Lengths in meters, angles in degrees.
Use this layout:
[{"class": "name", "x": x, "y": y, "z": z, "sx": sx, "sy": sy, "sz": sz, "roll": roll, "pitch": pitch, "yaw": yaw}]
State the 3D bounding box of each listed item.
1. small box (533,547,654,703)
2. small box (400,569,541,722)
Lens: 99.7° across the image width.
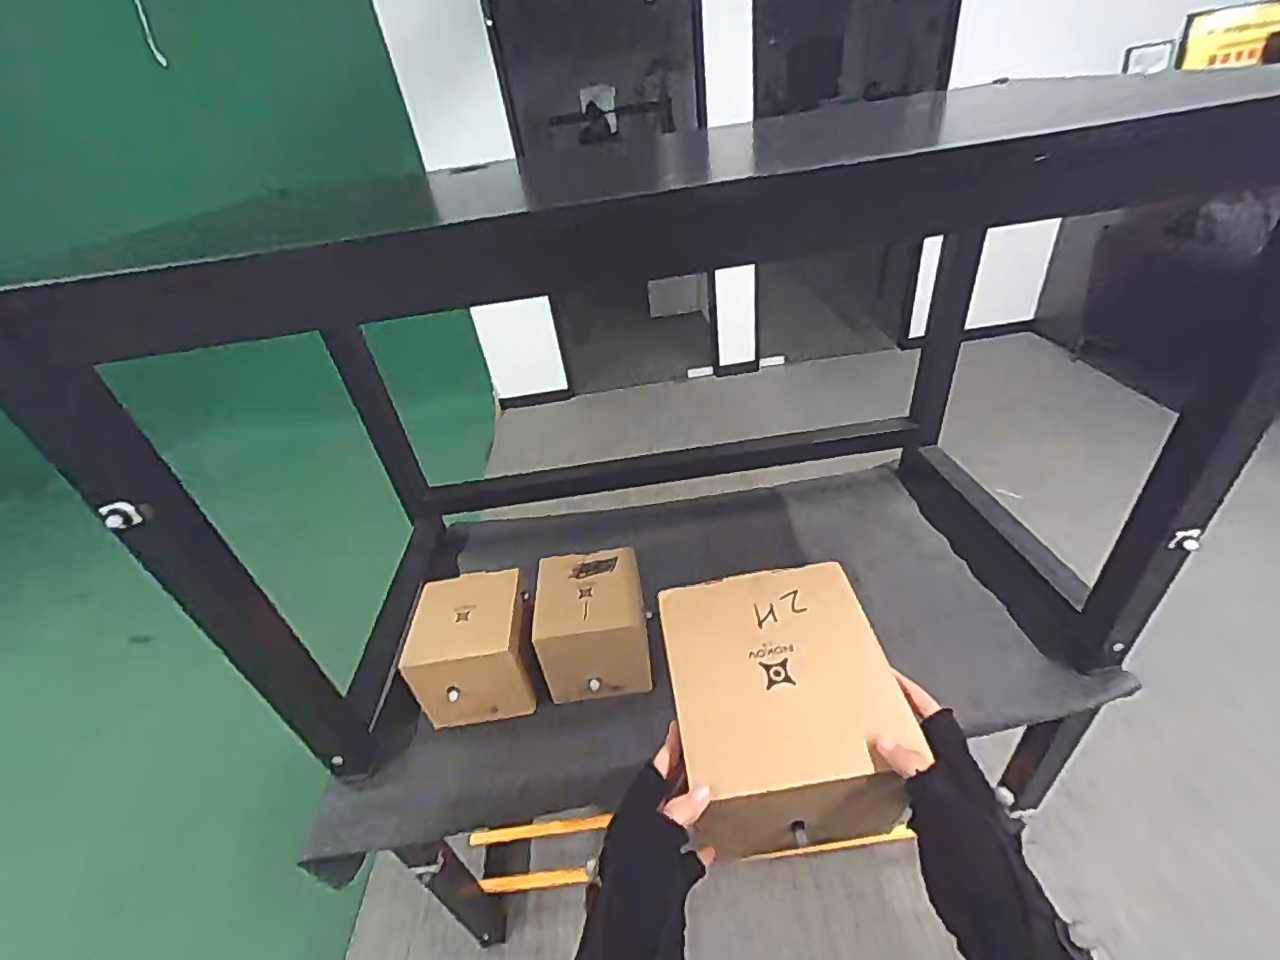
[{"class": "small box", "x": -0.072, "y": 0.241, "z": 0.906, "sx": 0.168, "sy": 0.176, "sz": 0.179, "roll": -9, "pitch": 35, "yaw": 1}, {"class": "small box", "x": -0.265, "y": 0.278, "z": 0.897, "sx": 0.168, "sy": 0.176, "sz": 0.179, "roll": -8, "pitch": 34, "yaw": 0}]
